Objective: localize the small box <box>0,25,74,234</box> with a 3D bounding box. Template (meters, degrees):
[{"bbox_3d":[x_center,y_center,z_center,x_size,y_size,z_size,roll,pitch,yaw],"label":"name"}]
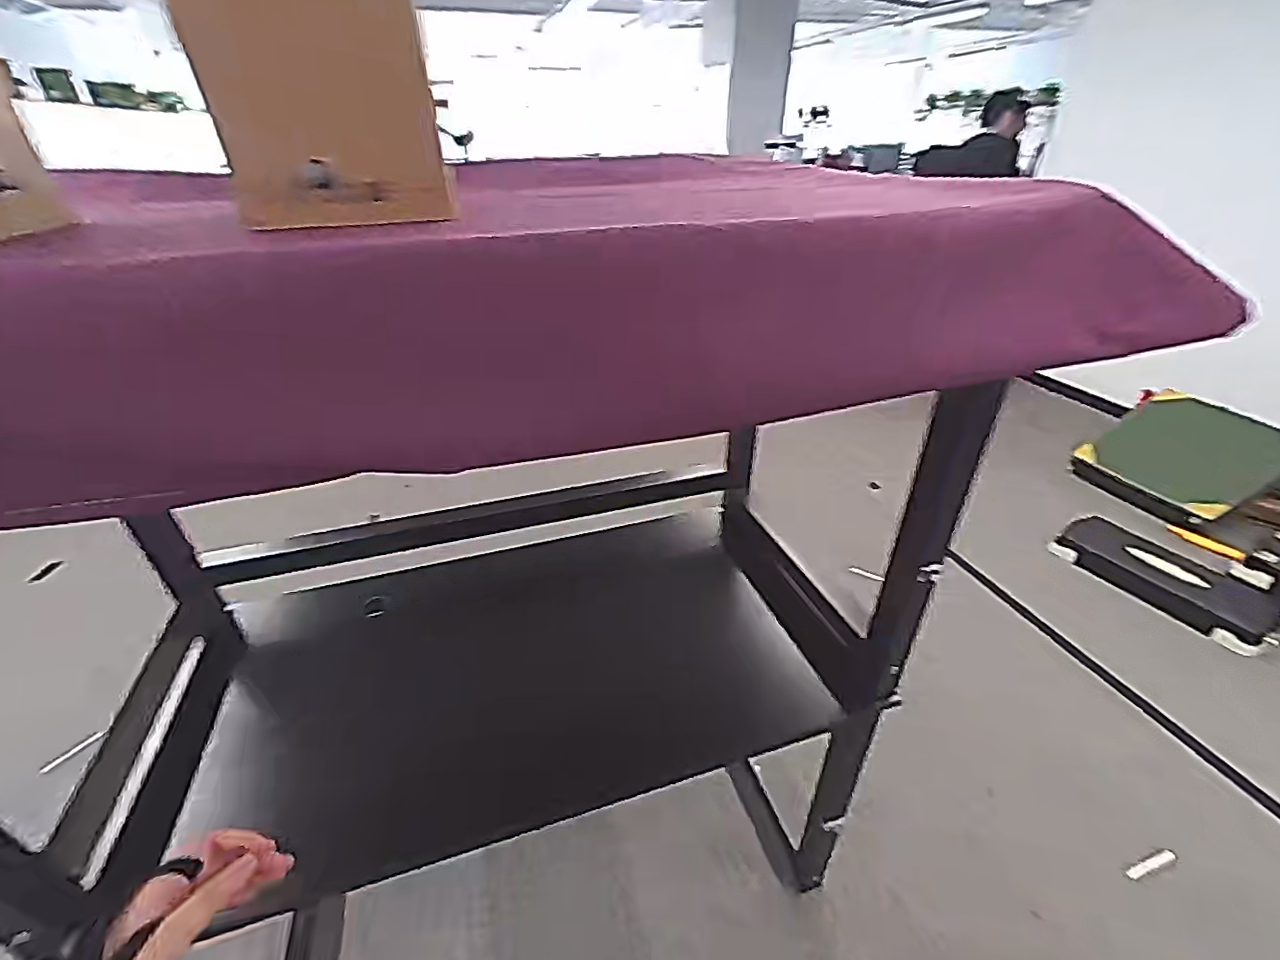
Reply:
[{"bbox_3d":[-0.554,-0.255,0.364,0.168,0.176,0.179,-11,33,-15],"label":"small box"}]

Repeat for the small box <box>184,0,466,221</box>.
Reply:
[{"bbox_3d":[-0.254,-0.329,0.475,0.168,0.176,0.179,-10,34,-13],"label":"small box"}]
